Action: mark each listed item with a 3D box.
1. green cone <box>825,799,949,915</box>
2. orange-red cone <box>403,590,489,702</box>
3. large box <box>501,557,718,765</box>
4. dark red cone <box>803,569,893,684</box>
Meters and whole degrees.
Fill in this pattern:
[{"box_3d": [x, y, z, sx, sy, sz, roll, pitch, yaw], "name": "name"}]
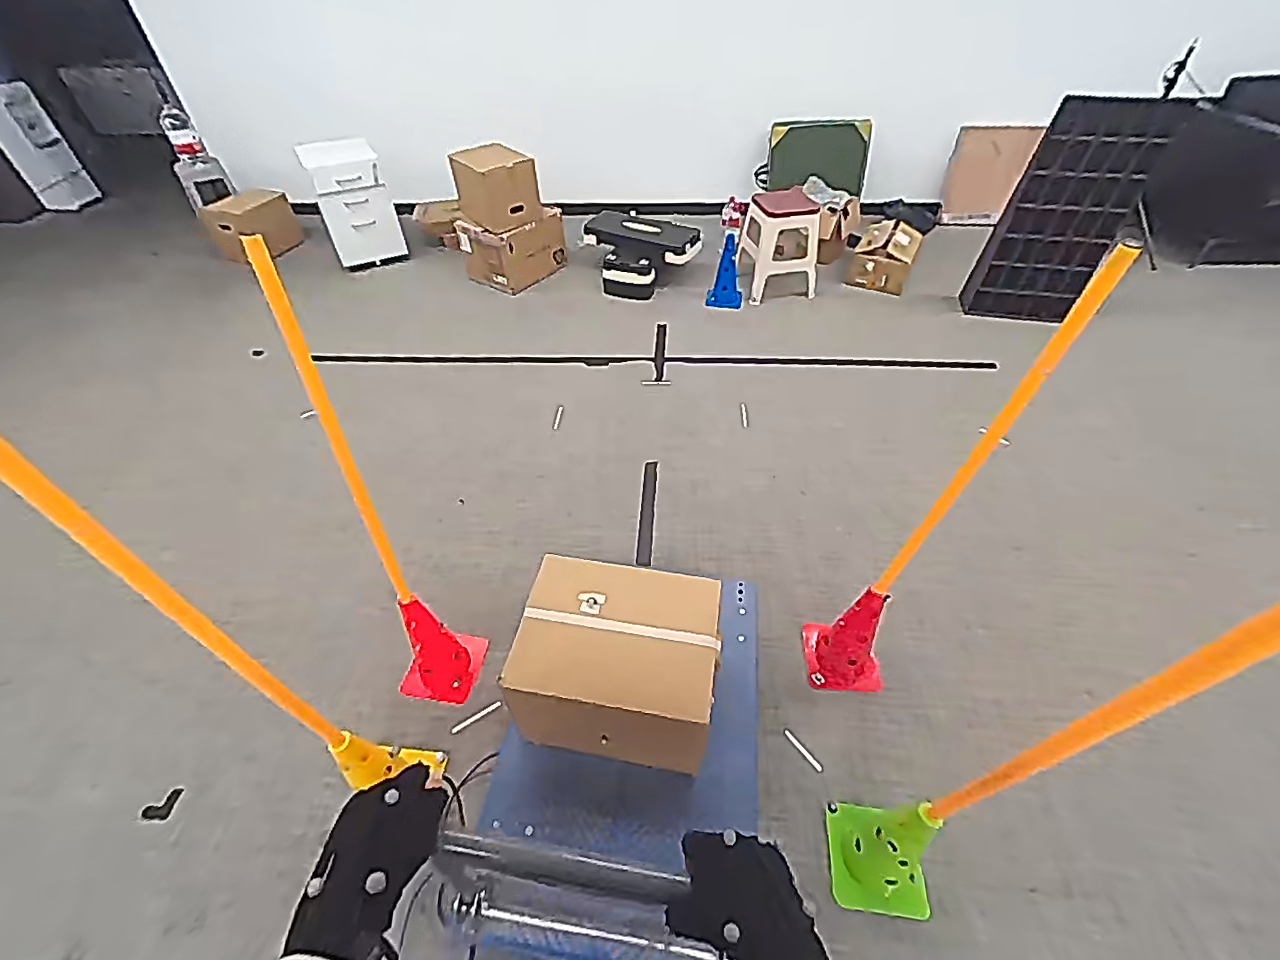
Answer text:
[{"box_3d": [0.528, 0.722, 1.095, 0.202, 0.368, 0.200, 5, 46, 5], "name": "green cone"}, {"box_3d": [-0.556, 0.407, 1.437, 0.198, 0.360, 0.199, 8, 45, 8], "name": "orange-red cone"}, {"box_3d": [-0.042, 0.408, 1.218, 0.408, 0.320, 0.320, 7, 47, 8], "name": "large box"}, {"box_3d": [0.578, 0.365, 1.421, 0.201, 0.394, 0.202, 3, 46, 2], "name": "dark red cone"}]
